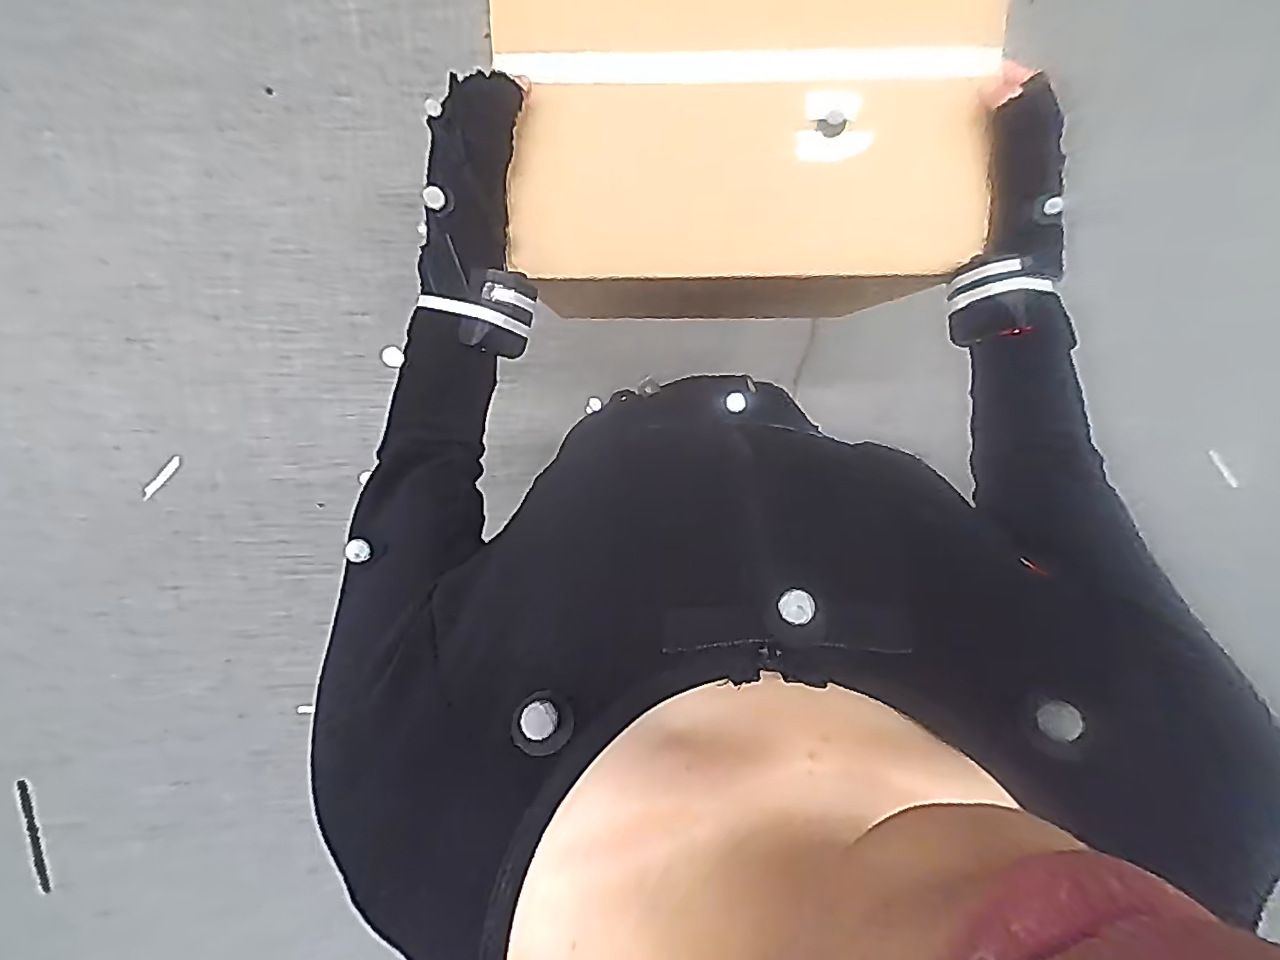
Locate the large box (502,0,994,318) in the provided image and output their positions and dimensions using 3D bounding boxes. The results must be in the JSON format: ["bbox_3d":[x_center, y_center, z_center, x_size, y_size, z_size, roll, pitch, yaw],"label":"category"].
[{"bbox_3d":[0.084,-0.361,0.592,0.408,0.320,0.320,-1,100,-1],"label":"large box"}]
